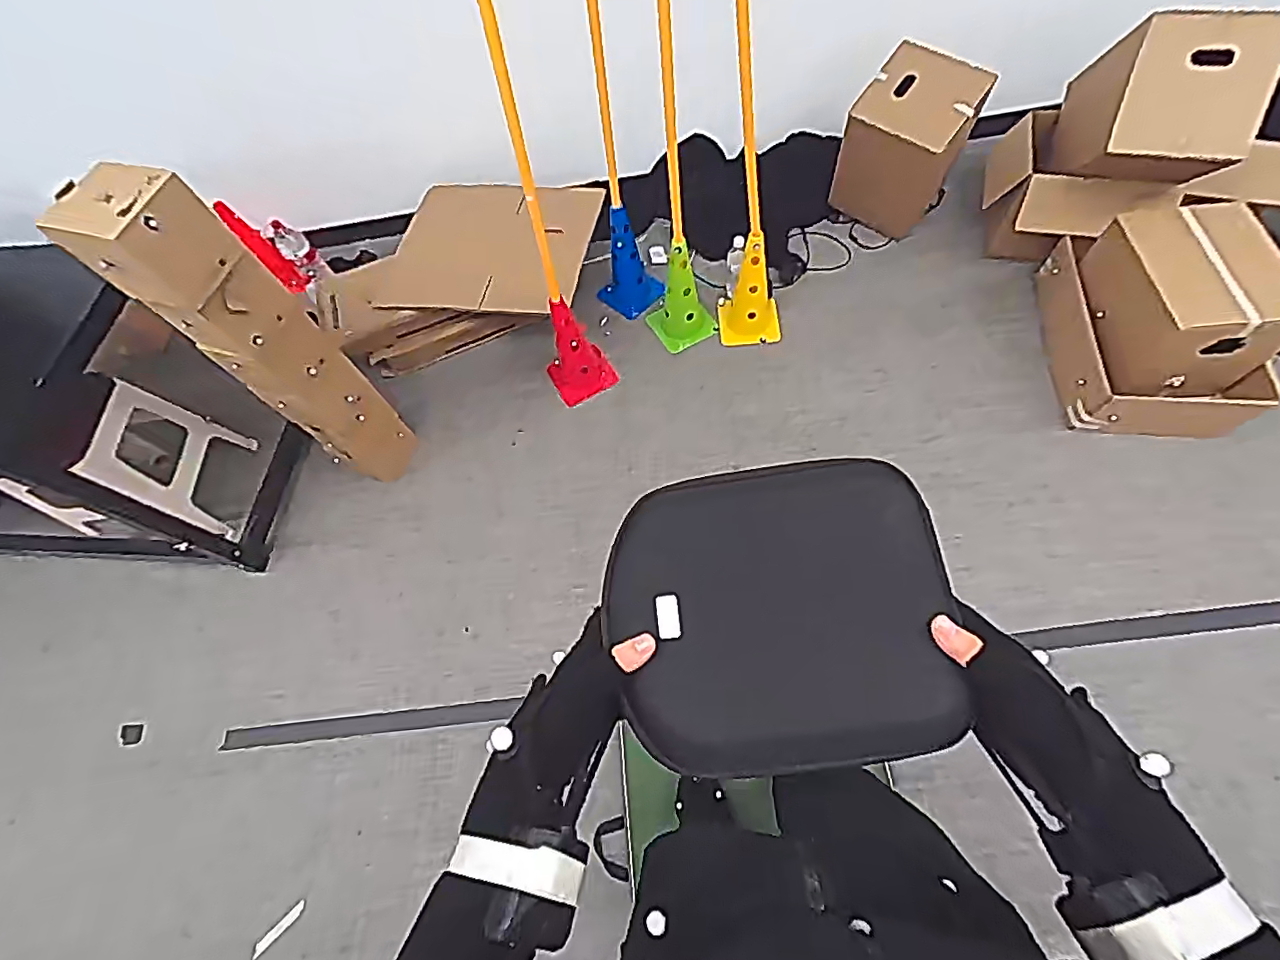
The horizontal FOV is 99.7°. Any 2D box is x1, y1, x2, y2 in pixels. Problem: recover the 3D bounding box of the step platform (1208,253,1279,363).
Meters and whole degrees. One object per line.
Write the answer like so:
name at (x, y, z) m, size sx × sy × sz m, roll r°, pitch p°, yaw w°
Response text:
step platform at (2.090, -0.627, 1.601) m, size 0.684 × 0.204 × 0.286 m, roll -34°, pitch 65°, yaw -9°
